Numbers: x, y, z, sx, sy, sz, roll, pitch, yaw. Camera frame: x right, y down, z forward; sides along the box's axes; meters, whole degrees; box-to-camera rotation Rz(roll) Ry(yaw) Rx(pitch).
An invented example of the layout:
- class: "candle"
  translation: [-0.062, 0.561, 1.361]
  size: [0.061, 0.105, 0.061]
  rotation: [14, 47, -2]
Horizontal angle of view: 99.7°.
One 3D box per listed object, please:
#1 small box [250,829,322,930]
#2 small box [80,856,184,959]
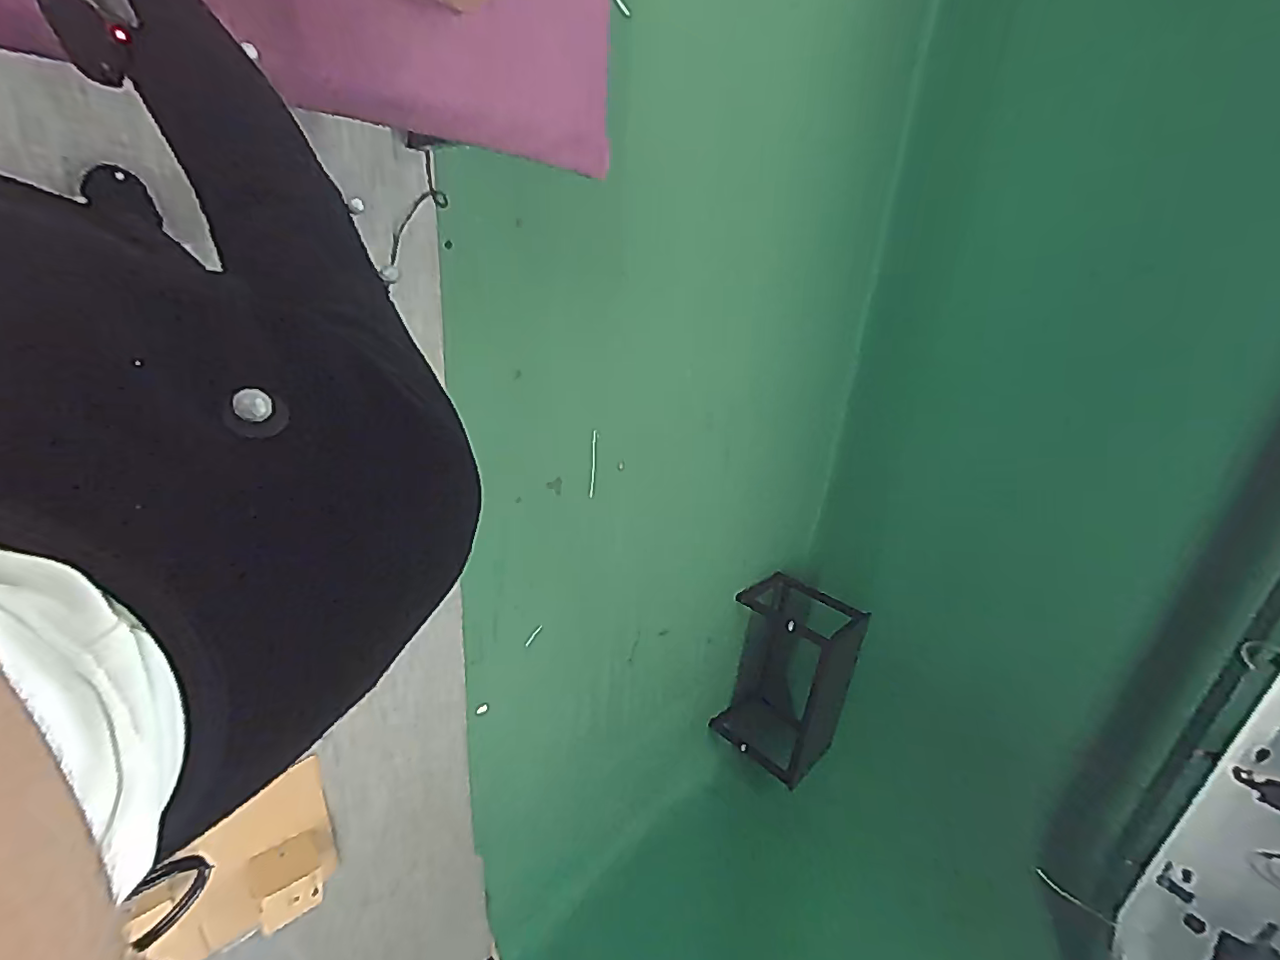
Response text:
- class: "small box"
  translation: [-1.197, 1.339, 1.824]
  size: [0.179, 0.176, 0.168]
  rotation: [-7, 114, -47]
- class: "small box"
  translation: [-1.418, 1.212, 1.510]
  size: [0.179, 0.176, 0.168]
  rotation: [-17, 121, -44]
